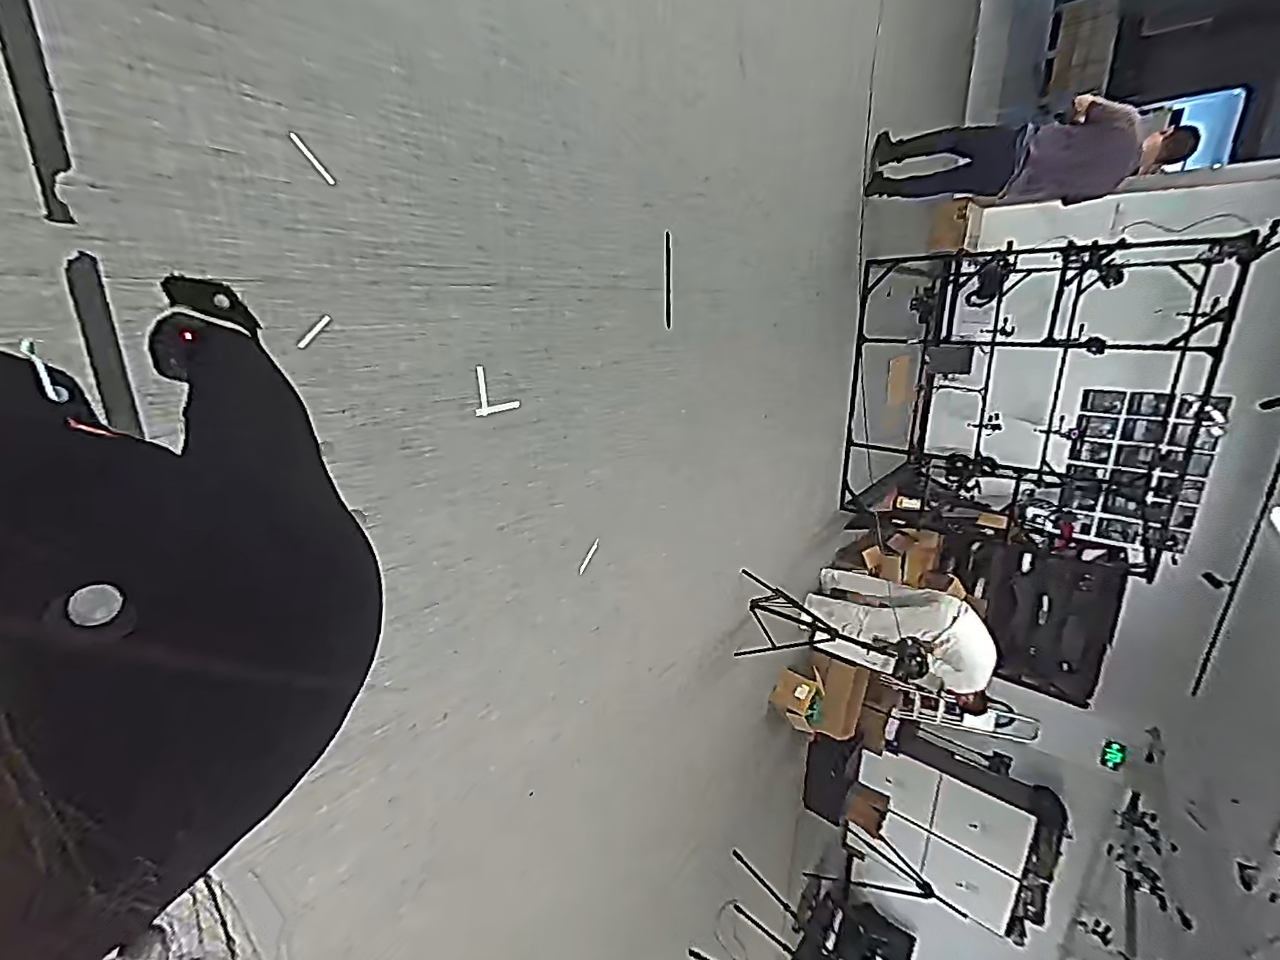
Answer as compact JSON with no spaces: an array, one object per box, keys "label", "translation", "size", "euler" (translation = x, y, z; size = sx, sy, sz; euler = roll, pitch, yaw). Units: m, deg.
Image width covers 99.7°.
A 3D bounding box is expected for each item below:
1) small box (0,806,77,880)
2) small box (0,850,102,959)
[{"label":"small box","translation":[-1.222,0.788,1.048],"size":[0.168,0.176,0.179],"euler":[-20,115,-48]},{"label":"small box","translation":[-1.094,0.813,0.947],"size":[0.179,0.176,0.168],"euler":[-20,117,-47]}]
